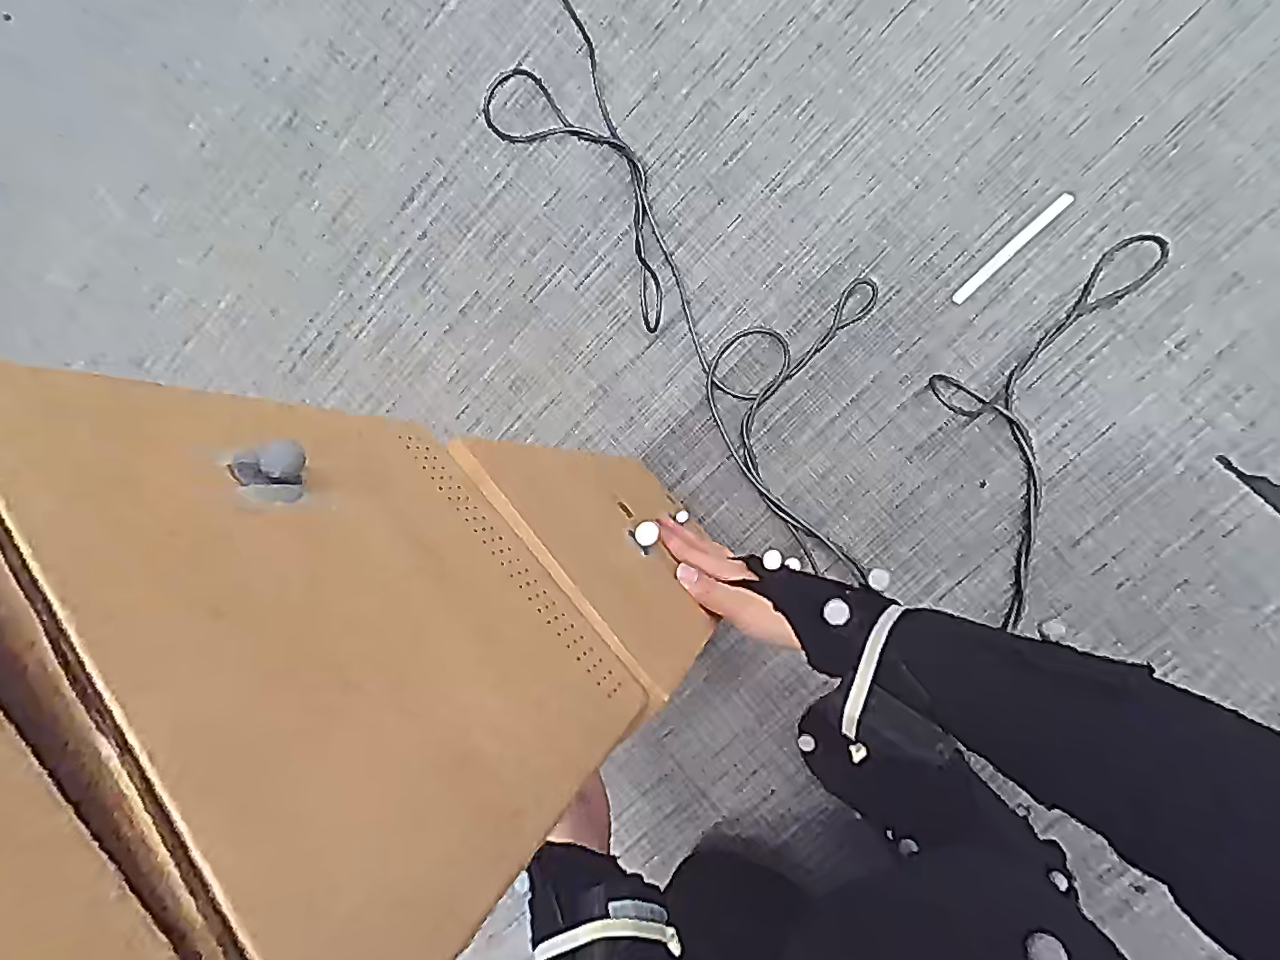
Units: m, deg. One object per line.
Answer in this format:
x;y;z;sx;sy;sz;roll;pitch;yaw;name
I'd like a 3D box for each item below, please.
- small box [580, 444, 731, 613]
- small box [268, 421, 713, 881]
-0.031;0.087;0.504;0.179;0.176;0.168;-44;78;12;small box
-0.074;0.088;0.346;0.179;0.176;0.168;-43;79;11;small box
